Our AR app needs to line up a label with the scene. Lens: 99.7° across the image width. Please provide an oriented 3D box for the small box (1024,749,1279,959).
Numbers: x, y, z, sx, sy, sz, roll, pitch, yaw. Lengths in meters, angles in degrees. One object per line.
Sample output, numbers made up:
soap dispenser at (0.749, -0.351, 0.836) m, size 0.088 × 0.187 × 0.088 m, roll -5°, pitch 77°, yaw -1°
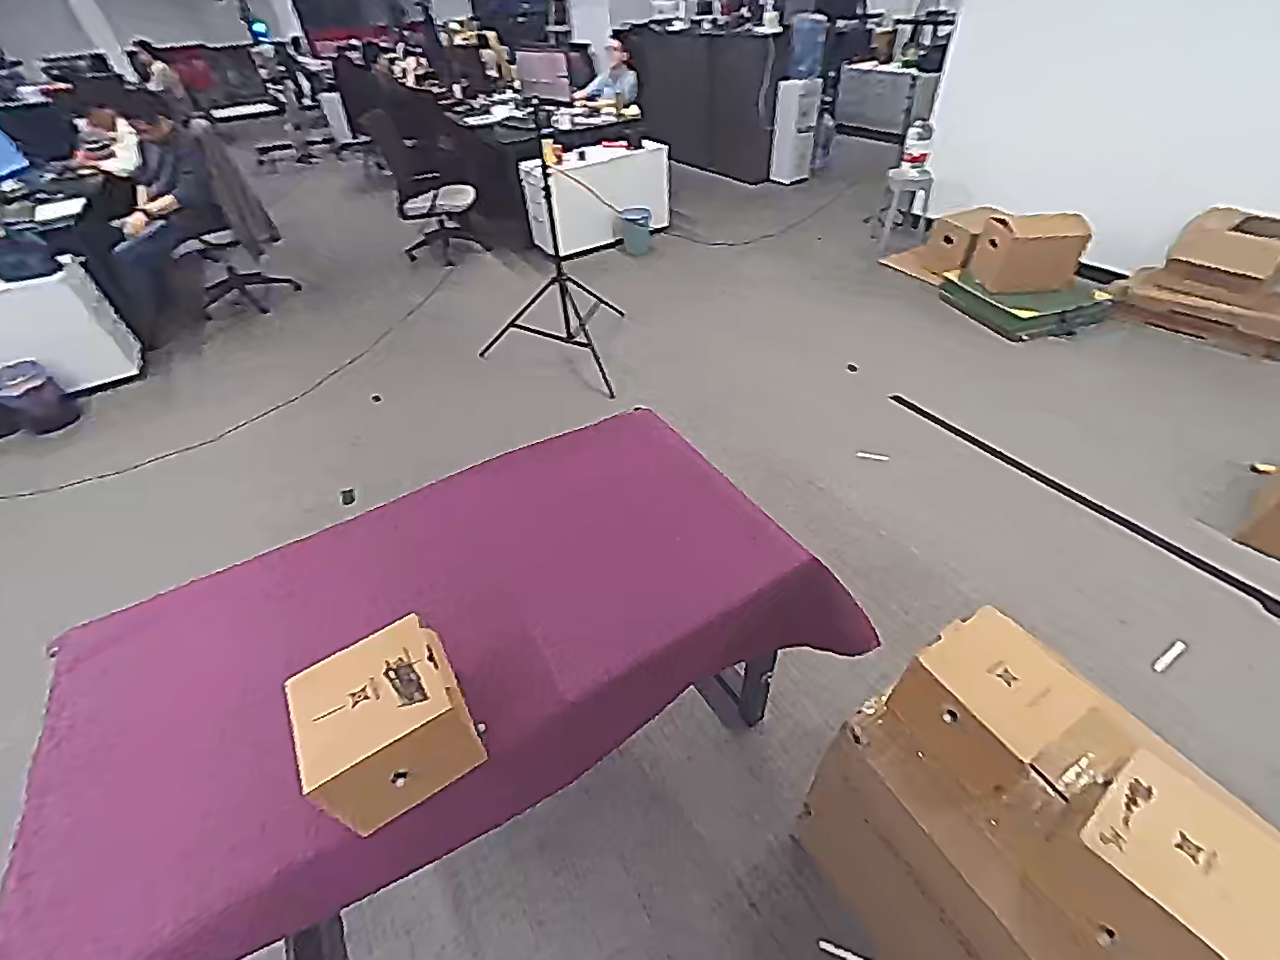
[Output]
small box at (0.620, 0.474, 0.650) m, size 0.168 × 0.176 × 0.179 m, roll -30°, pitch 48°, yaw -23°

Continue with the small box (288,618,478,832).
small box at (-0.336, 0.330, 0.734) m, size 0.179 × 0.176 × 0.168 m, roll -26°, pitch 46°, yaw -21°
